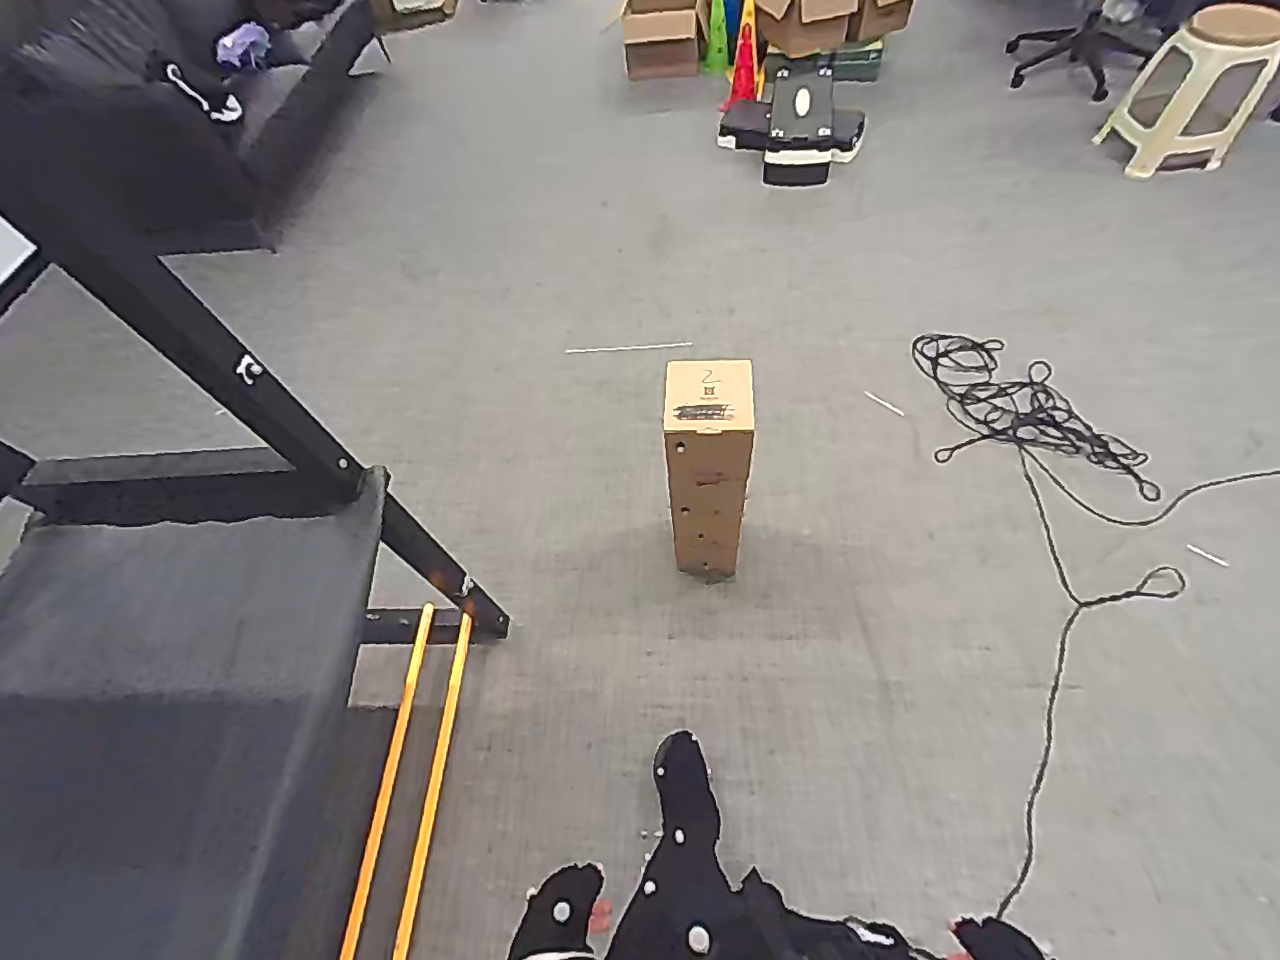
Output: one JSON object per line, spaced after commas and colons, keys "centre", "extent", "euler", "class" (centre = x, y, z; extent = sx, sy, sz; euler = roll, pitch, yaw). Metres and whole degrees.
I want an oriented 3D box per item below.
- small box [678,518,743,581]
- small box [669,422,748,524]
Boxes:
{"centre": [0.198, 0.164, 1.502], "extent": [0.168, 0.176, 0.179], "euler": [3, 58, 10], "class": "small box"}
{"centre": [0.159, -0.013, 1.230], "extent": [0.168, 0.176, 0.179], "euler": [2, 57, 8], "class": "small box"}
